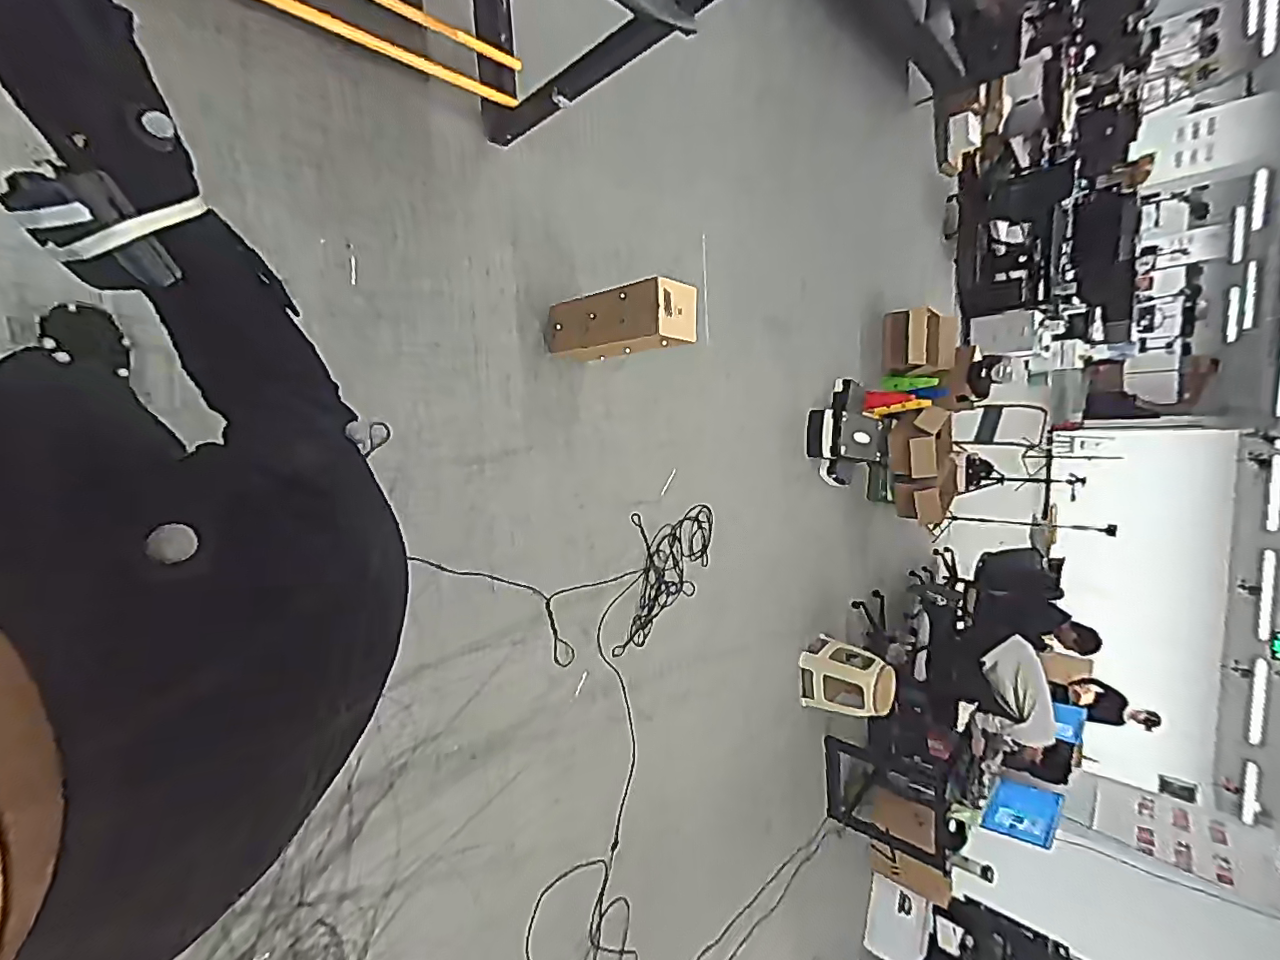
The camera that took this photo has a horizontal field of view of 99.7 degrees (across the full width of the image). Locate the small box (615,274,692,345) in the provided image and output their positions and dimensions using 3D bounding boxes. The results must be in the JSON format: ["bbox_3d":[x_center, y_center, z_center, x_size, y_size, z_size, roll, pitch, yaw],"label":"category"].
[{"bbox_3d":[0.039,-0.506,1.633,0.179,0.176,0.168,-5,97,-47],"label":"small box"}]

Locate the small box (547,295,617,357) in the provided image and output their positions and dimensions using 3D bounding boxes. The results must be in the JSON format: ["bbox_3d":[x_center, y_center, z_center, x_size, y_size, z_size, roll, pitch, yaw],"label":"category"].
[{"bbox_3d":[-0.198,-0.521,1.856,0.179,0.176,0.168,-1,93,-46],"label":"small box"}]
